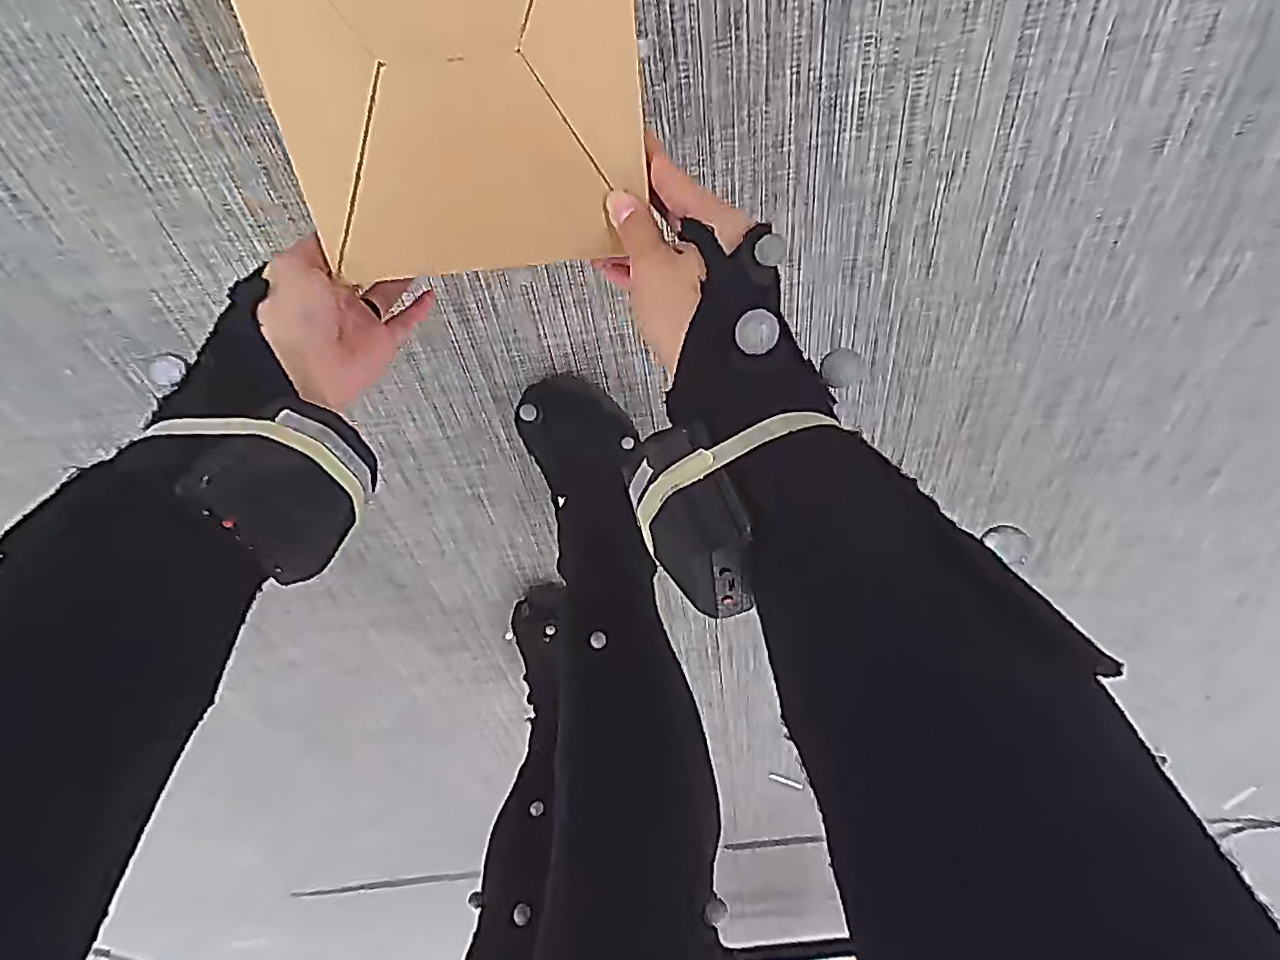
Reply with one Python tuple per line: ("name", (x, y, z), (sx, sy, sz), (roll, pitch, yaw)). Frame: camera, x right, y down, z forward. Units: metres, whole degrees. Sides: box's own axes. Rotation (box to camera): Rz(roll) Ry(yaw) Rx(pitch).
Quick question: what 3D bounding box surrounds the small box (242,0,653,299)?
("small box", (-0.084, -0.217, 0.305), (0.168, 0.176, 0.179), (-6, 120, 1))
